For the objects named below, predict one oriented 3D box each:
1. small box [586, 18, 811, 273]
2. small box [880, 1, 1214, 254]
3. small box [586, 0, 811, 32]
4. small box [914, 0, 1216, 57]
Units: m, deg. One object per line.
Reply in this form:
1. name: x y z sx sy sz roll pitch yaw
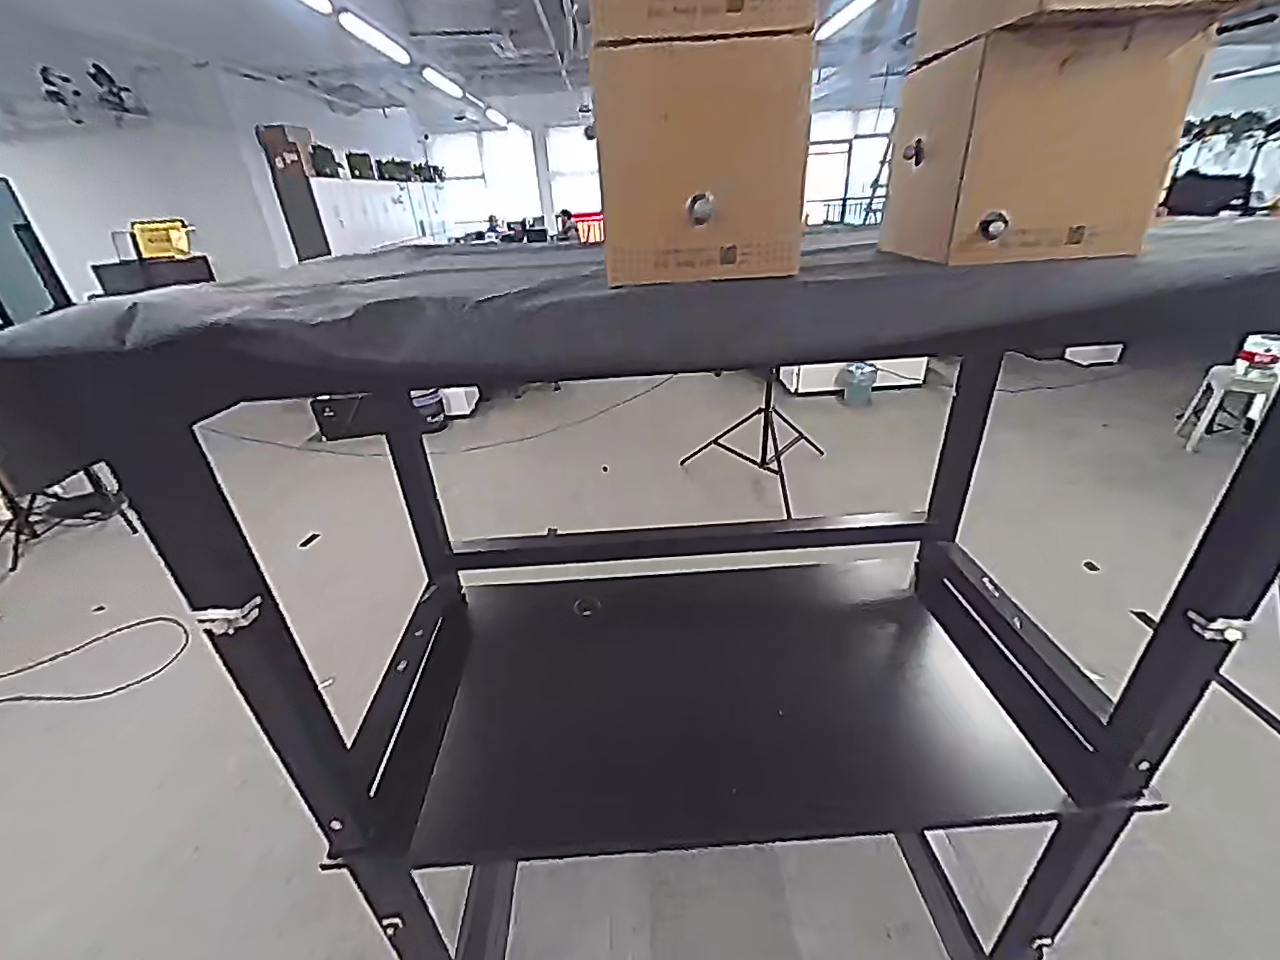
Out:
1. small box: 0.045 -0.287 0.496 0.168 0.176 0.179 -4 26 1
2. small box: 0.344 -0.307 0.504 0.168 0.176 0.179 -2 26 3
3. small box: 0.038 -0.435 0.425 0.168 0.176 0.179 -3 27 0
4. small box: 0.335 -0.436 0.401 0.168 0.176 0.179 -4 27 -3
